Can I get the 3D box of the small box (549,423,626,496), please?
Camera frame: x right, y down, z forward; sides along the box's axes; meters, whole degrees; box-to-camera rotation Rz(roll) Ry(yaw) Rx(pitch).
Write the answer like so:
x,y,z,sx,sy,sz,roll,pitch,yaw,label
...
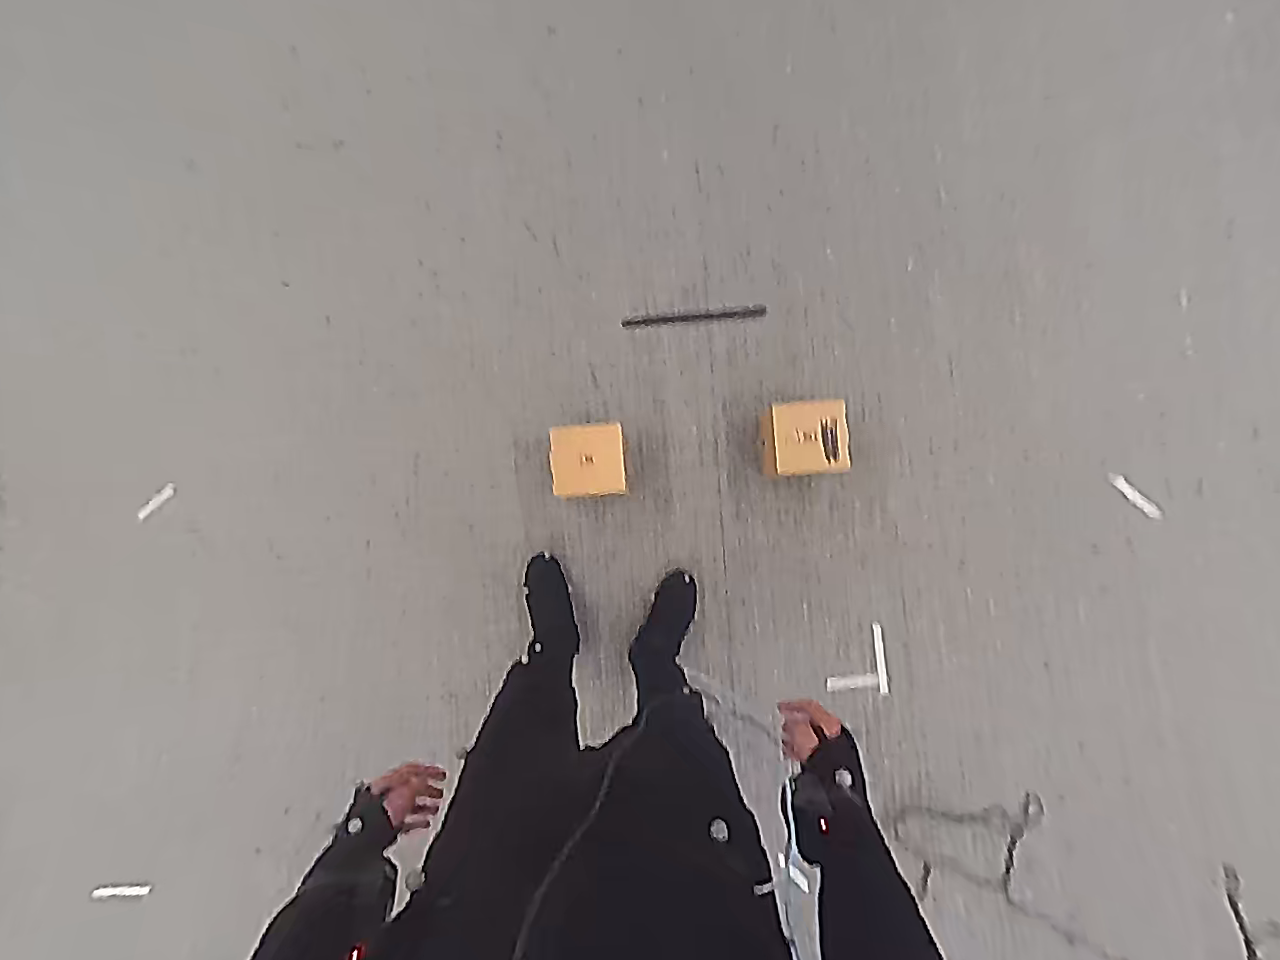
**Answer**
x,y,z,sx,sy,sz,roll,pitch,yaw,label
-0.126,-0.048,1.365,0.179,0.176,0.168,-4,88,2,small box
